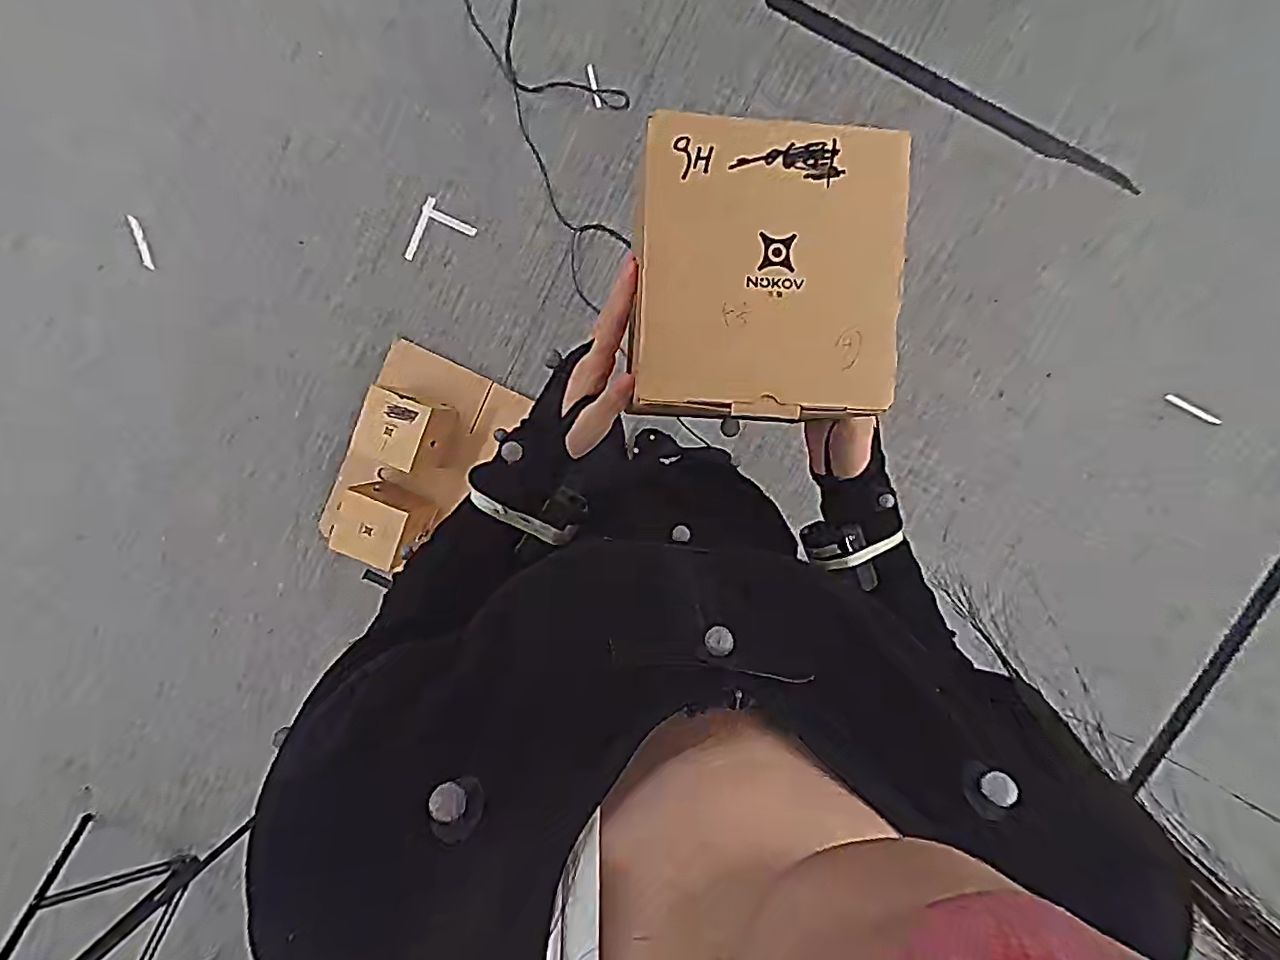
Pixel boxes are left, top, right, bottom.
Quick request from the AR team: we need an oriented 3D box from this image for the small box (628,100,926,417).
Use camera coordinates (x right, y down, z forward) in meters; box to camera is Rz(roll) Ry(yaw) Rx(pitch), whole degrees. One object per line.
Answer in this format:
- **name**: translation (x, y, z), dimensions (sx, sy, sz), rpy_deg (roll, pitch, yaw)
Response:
- **small box**: translation (0.080, -0.138, 0.406), dimensions (0.168, 0.176, 0.179), rpy_deg (2, 95, -5)

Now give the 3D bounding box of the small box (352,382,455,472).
- **small box**: translation (-0.603, -0.138, 1.405), dimensions (0.168, 0.176, 0.179), rpy_deg (22, 97, 1)

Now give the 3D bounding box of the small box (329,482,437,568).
- **small box**: translation (-0.675, 0.110, 1.436), dimensions (0.179, 0.176, 0.168), rpy_deg (20, 98, 0)
